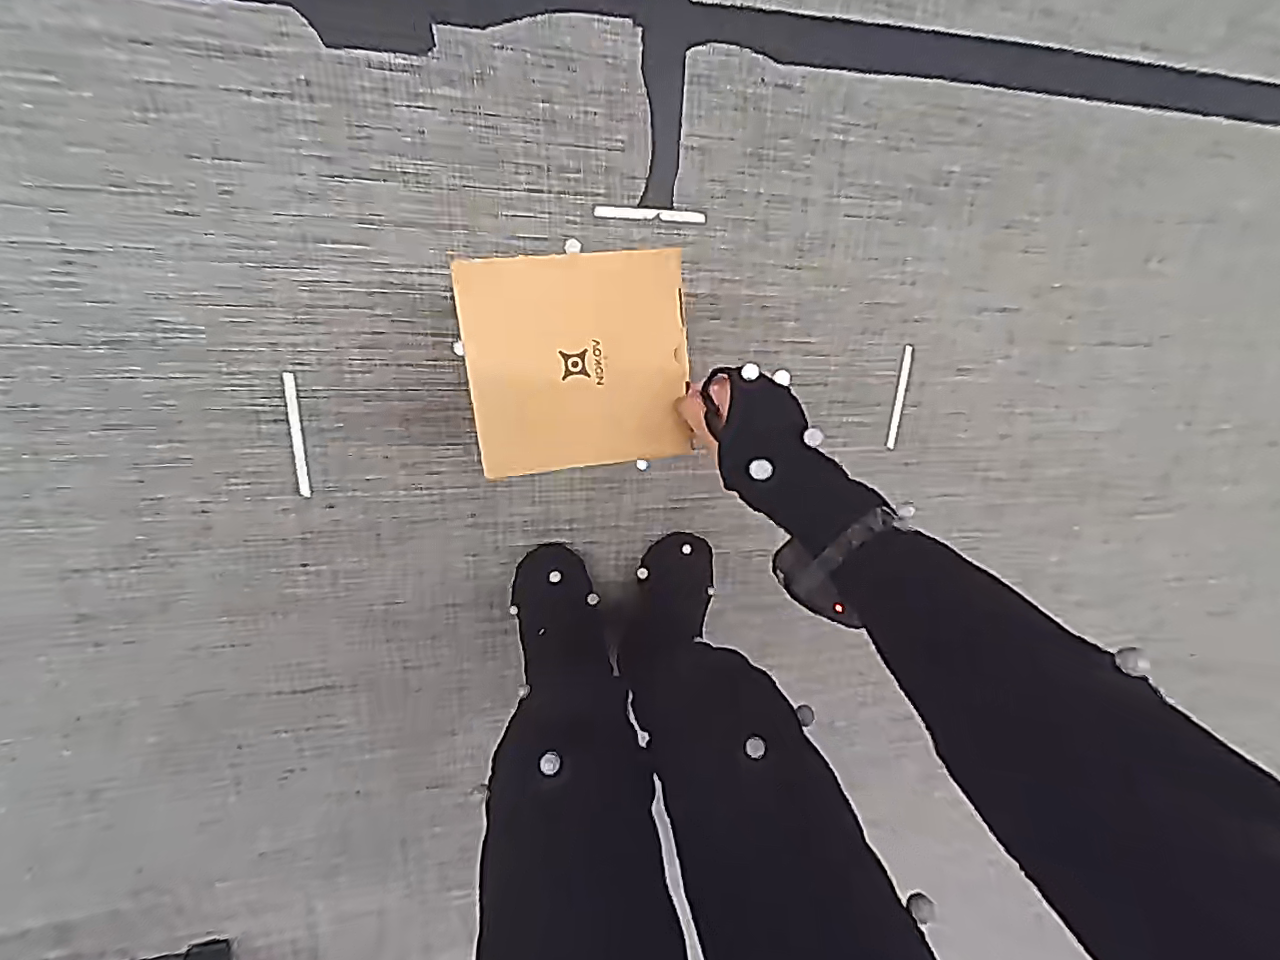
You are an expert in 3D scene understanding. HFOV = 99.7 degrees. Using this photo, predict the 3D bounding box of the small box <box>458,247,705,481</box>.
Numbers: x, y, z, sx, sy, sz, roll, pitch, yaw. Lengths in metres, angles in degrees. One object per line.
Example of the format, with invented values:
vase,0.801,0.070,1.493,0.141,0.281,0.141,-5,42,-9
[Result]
small box,-0.053,-0.104,0.491,0.179,0.176,0.168,-8,105,-10
